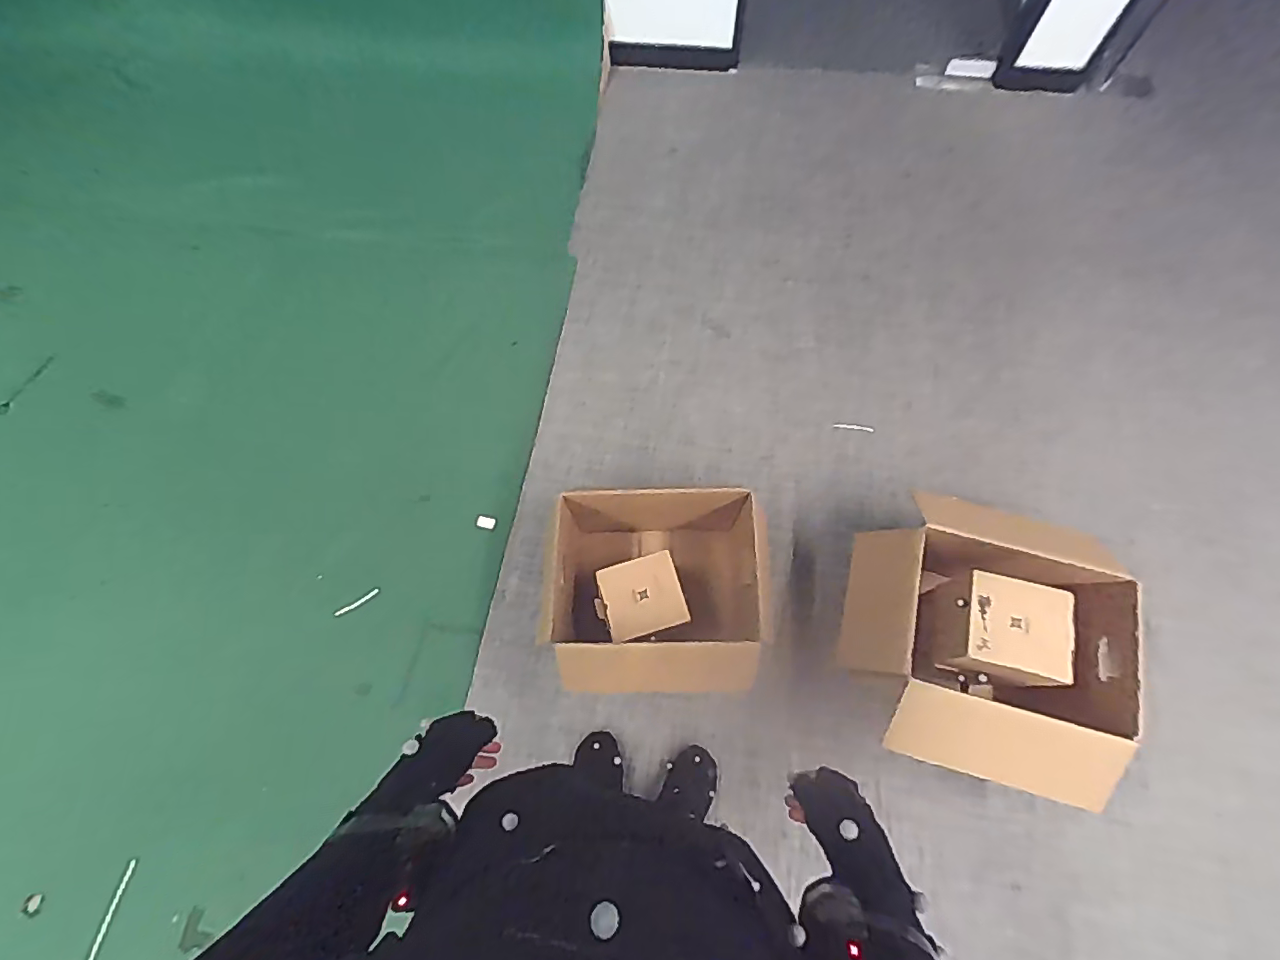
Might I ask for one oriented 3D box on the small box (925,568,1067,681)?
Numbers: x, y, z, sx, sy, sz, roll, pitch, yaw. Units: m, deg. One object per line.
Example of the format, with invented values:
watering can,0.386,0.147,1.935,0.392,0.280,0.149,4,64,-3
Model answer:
small box,0.693,0.289,1.065,0.179,0.176,0.168,13,69,8
